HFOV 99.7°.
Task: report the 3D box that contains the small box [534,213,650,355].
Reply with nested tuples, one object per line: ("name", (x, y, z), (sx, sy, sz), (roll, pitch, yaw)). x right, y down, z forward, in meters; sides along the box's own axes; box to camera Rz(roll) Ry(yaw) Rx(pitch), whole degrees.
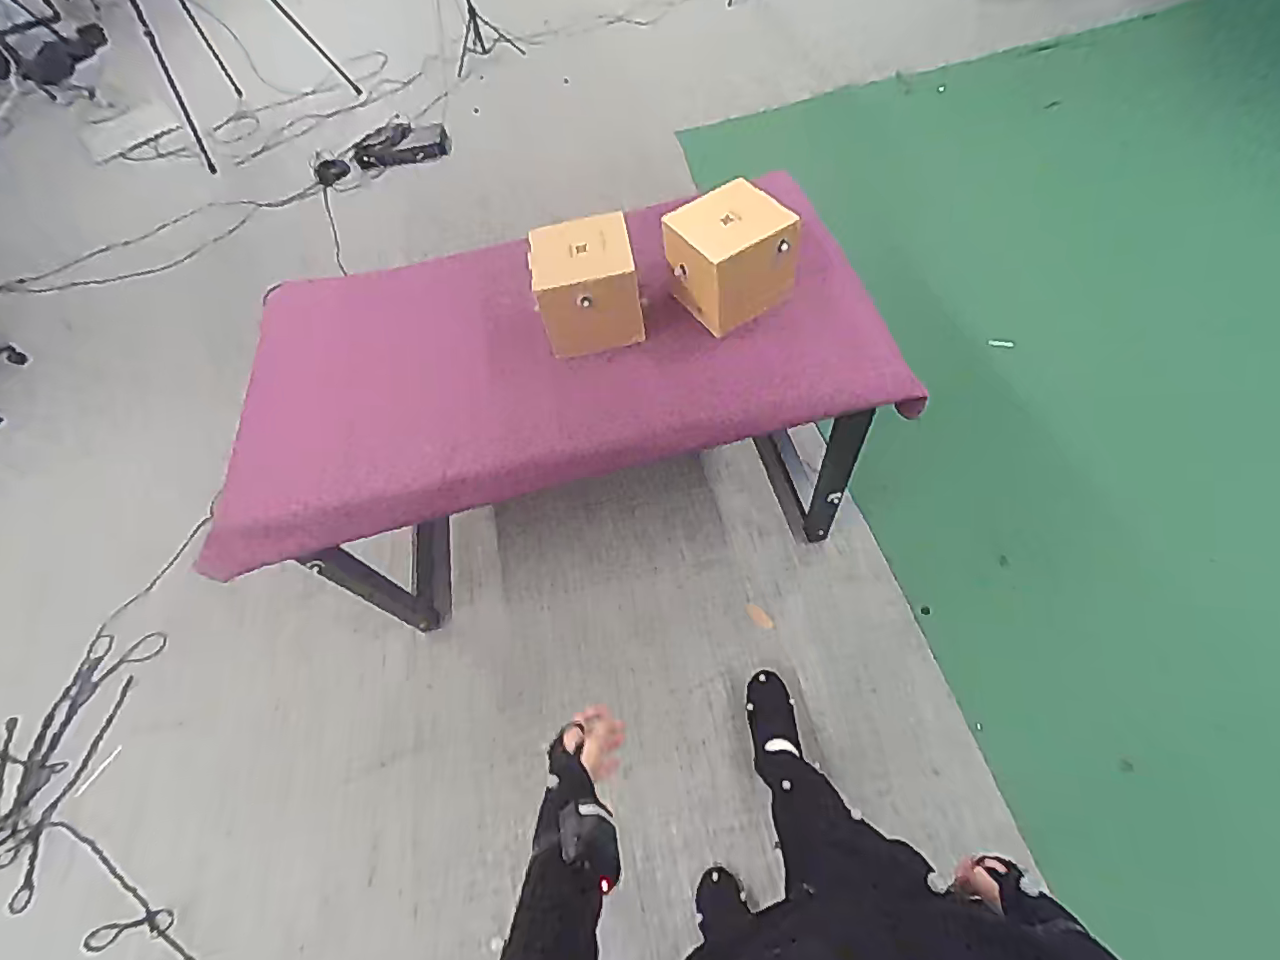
("small box", (-0.085, -0.351, 0.990), (0.179, 0.176, 0.168), (-9, 59, 2))

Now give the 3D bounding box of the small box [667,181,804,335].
("small box", (0.170, -0.396, 0.980), (0.179, 0.176, 0.168), (-30, 59, -10))
